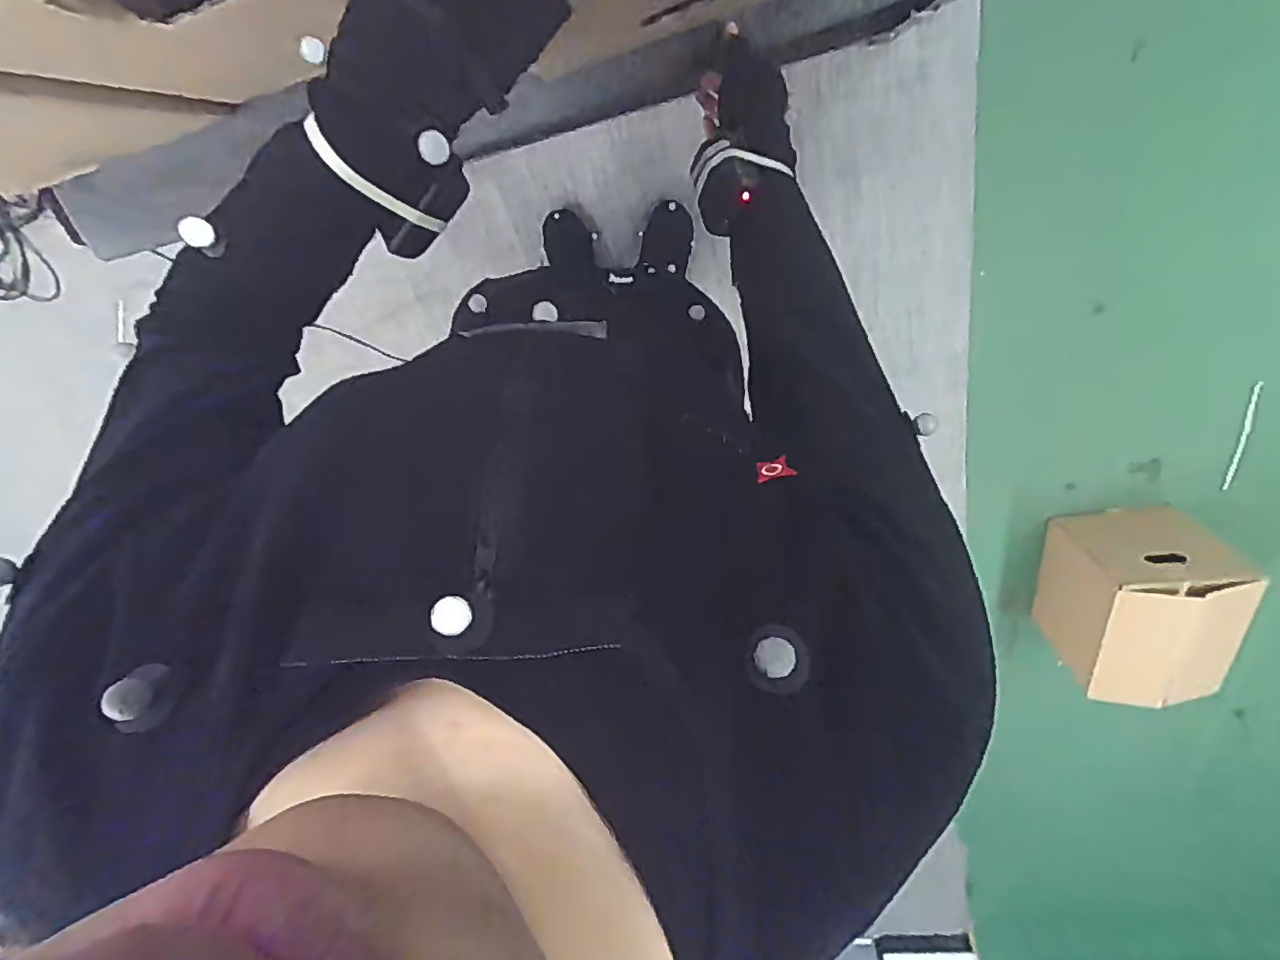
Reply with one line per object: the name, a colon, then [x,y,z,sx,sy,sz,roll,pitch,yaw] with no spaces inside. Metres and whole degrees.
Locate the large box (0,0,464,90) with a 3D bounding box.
large box: [-0.344,-0.533,0.326,0.320,0.320,0.408,-11,119,13]
